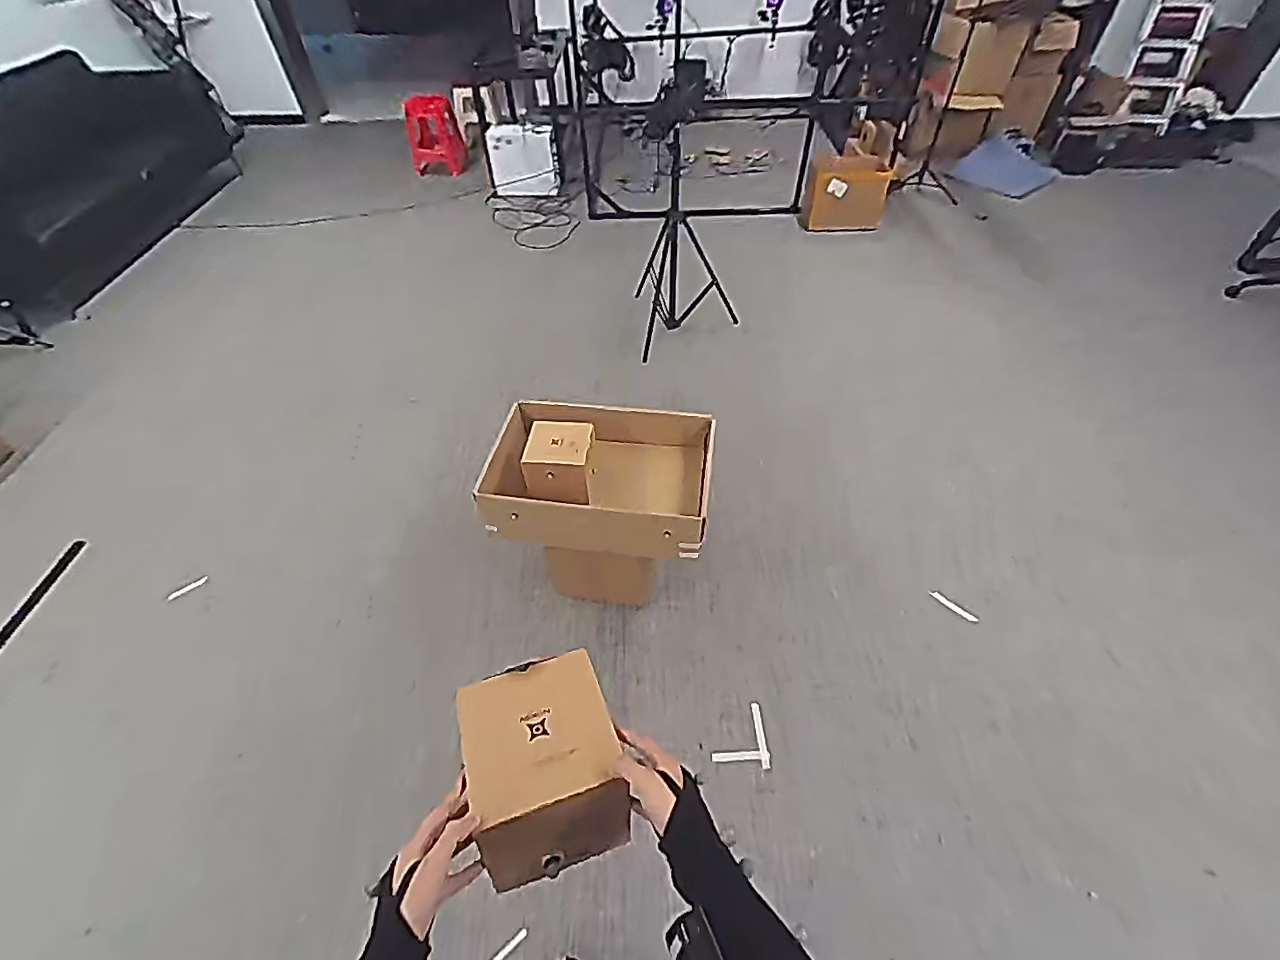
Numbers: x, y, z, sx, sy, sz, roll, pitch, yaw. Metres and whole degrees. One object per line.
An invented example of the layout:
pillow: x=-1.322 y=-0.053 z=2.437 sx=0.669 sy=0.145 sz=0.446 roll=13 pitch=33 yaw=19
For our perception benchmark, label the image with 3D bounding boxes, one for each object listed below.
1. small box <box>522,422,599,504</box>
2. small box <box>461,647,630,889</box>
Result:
small box: x=-0.221 y=-0.047 z=1.549 sx=0.179 sy=0.176 sz=0.168 roll=4 pitch=49 yaw=4
small box: x=-0.115 y=0.344 z=0.659 sx=0.168 sy=0.176 sz=0.179 roll=-12 pitch=36 yaw=-16
